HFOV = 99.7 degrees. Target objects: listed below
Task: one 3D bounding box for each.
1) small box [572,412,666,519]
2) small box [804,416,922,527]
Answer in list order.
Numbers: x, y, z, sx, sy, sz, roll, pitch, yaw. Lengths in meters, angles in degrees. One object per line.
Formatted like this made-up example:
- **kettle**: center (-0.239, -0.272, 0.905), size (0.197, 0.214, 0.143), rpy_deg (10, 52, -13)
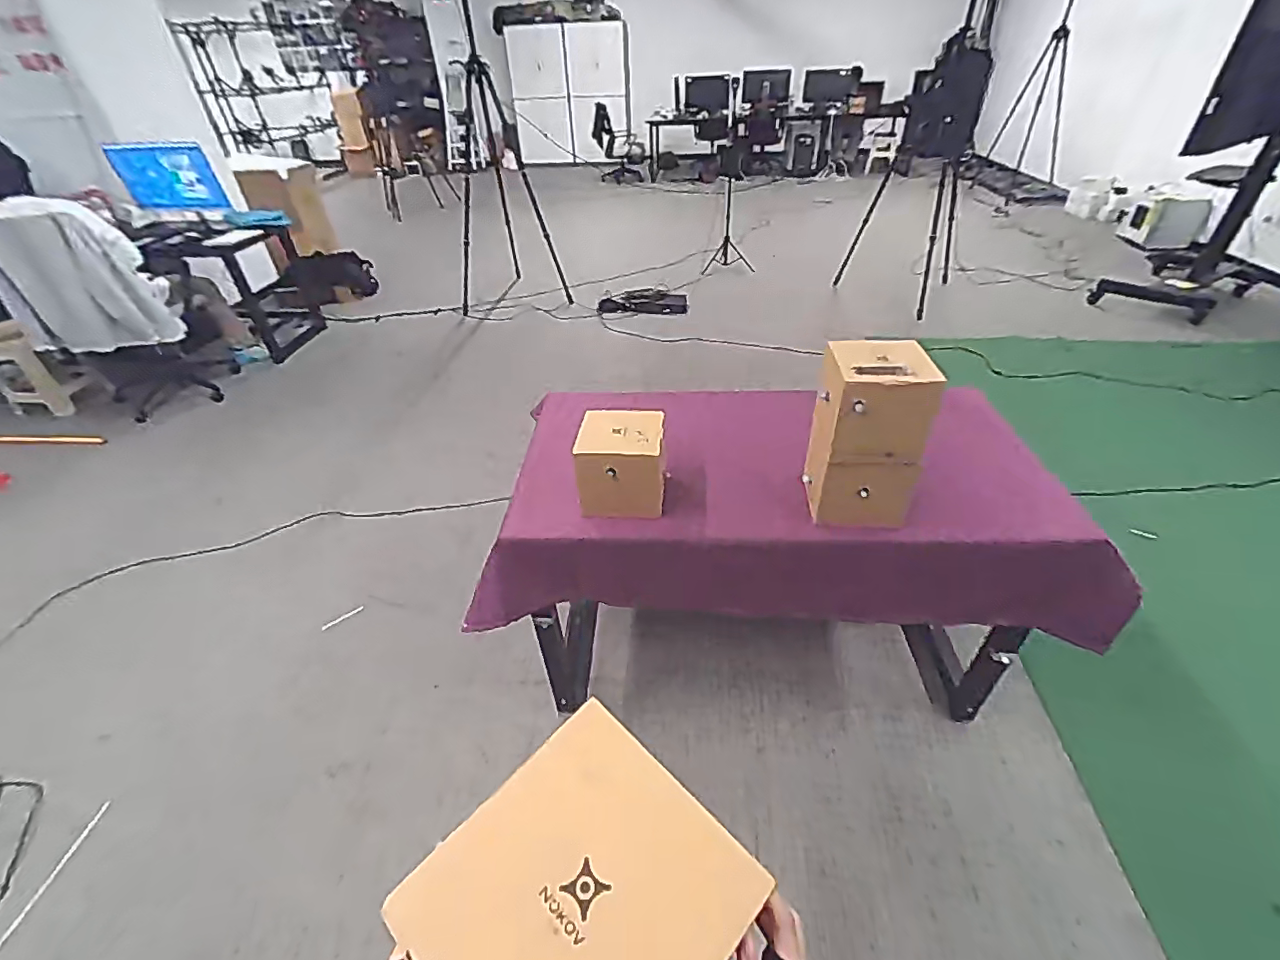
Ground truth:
- **small box**: center (-0.037, -0.031, 1.166), size (0.179, 0.176, 0.168), rpy_deg (2, 39, 6)
- **small box**: center (0.447, -0.016, 1.113), size (0.179, 0.176, 0.168), rpy_deg (1, 38, 7)
